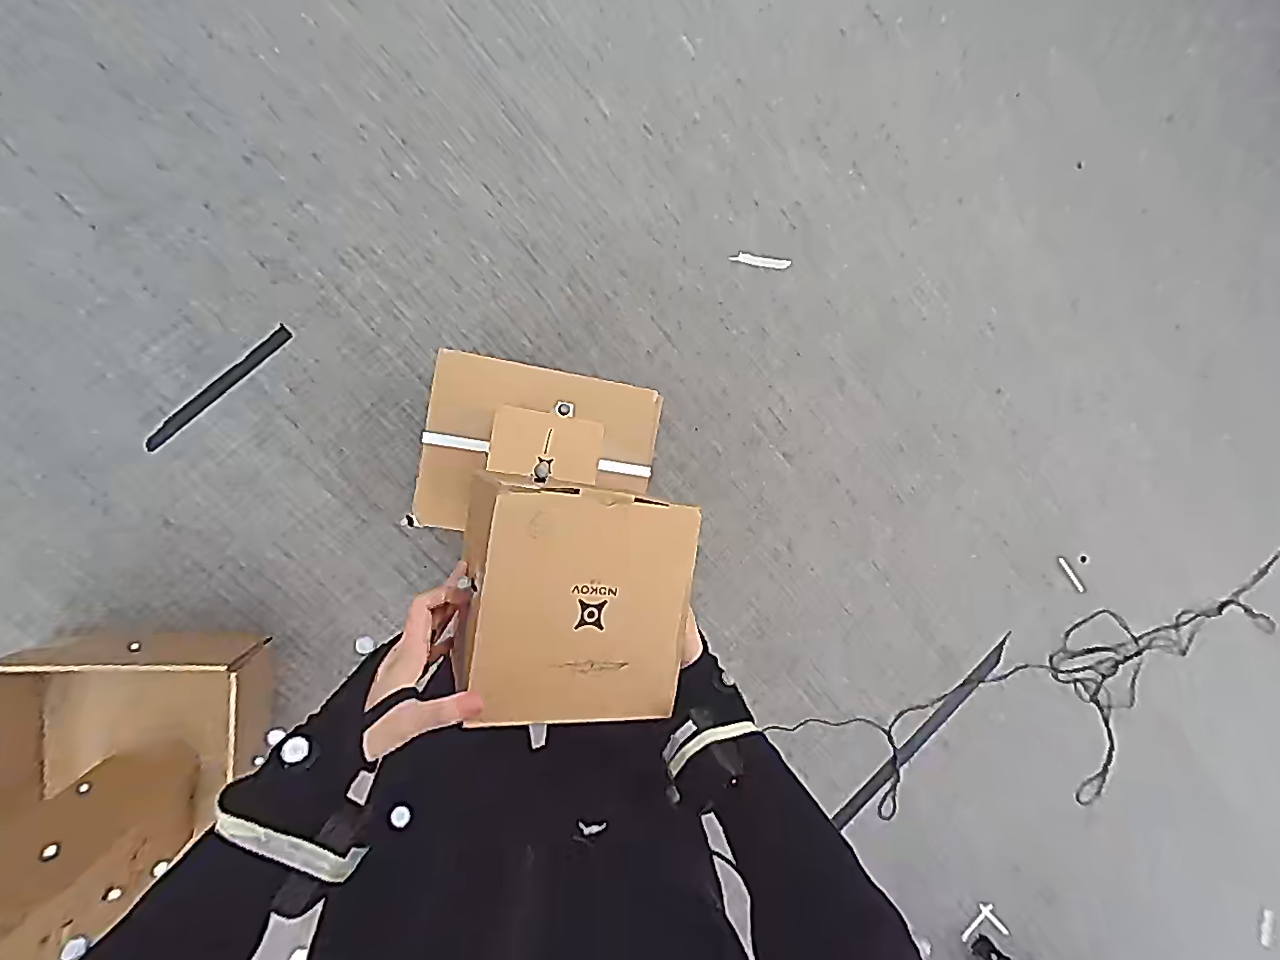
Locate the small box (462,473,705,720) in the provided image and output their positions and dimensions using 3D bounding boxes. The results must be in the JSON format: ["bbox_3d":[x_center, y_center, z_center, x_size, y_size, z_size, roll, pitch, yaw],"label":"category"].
[{"bbox_3d":[-0.062,0.090,0.487,0.168,0.176,0.179,7,91,-22],"label":"small box"}]

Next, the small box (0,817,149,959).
[{"bbox_3d":[-0.938,0.666,0.858,0.179,0.176,0.168,8,91,-13],"label":"small box"}]

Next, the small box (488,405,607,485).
[{"bbox_3d":[-0.159,-0.017,0.889,0.168,0.176,0.179,9,91,-14],"label":"small box"}]

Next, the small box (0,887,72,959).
[{"bbox_3d":[-0.911,0.667,0.697,0.179,0.176,0.168,7,91,-12],"label":"small box"}]
